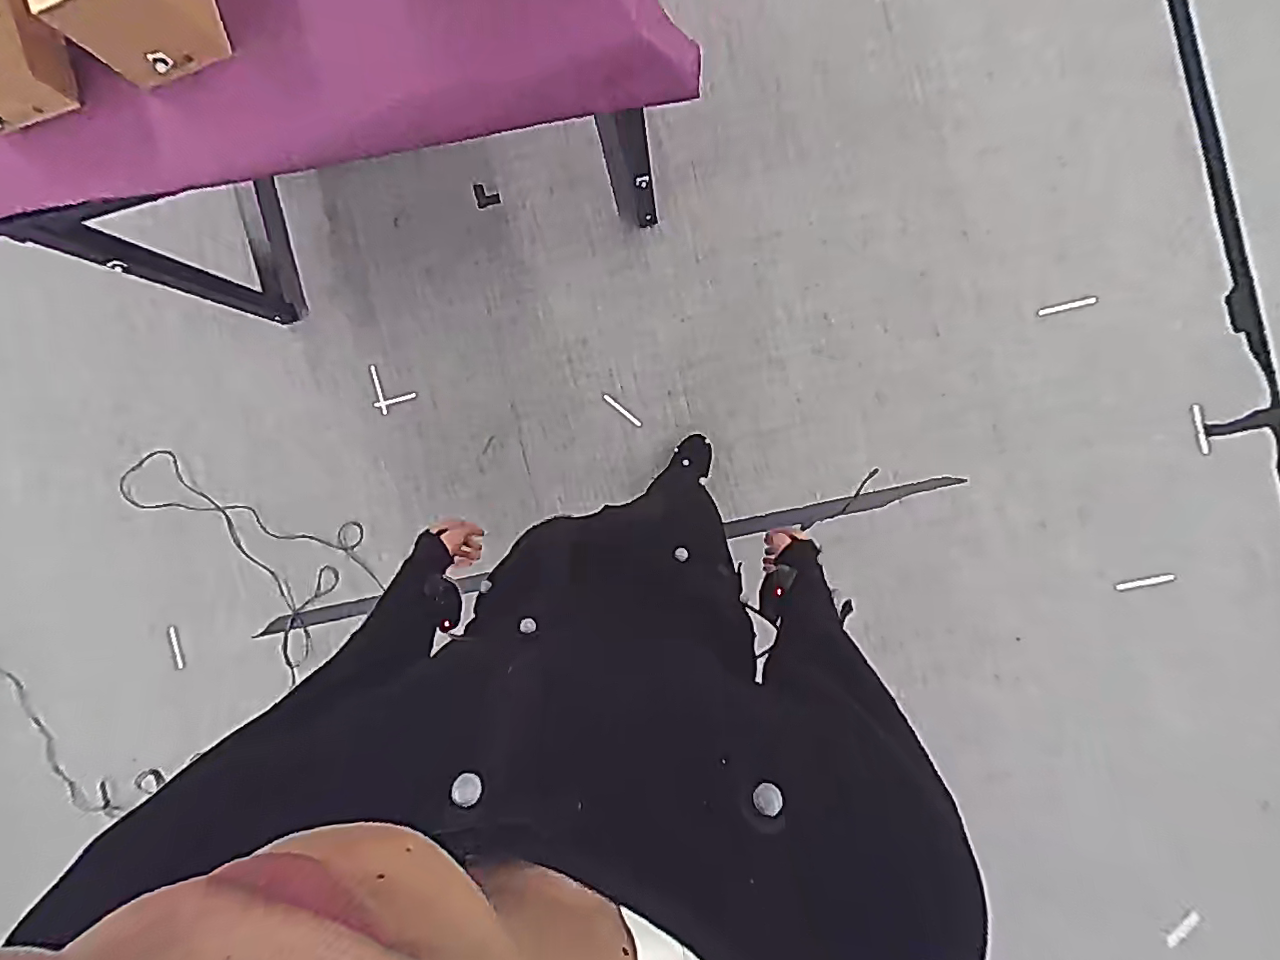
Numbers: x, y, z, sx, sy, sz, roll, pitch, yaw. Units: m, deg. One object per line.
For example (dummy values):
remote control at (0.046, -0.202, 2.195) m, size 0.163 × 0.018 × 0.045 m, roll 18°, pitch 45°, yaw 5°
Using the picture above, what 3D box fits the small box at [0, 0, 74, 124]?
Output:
small box at (-1.049, -0.694, 0.838) m, size 0.168 × 0.176 × 0.179 m, roll -15°, pitch 90°, yaw 4°

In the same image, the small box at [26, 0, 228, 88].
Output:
small box at (-0.782, -0.755, 0.818) m, size 0.168 × 0.176 × 0.179 m, roll -18°, pitch 91°, yaw 6°
